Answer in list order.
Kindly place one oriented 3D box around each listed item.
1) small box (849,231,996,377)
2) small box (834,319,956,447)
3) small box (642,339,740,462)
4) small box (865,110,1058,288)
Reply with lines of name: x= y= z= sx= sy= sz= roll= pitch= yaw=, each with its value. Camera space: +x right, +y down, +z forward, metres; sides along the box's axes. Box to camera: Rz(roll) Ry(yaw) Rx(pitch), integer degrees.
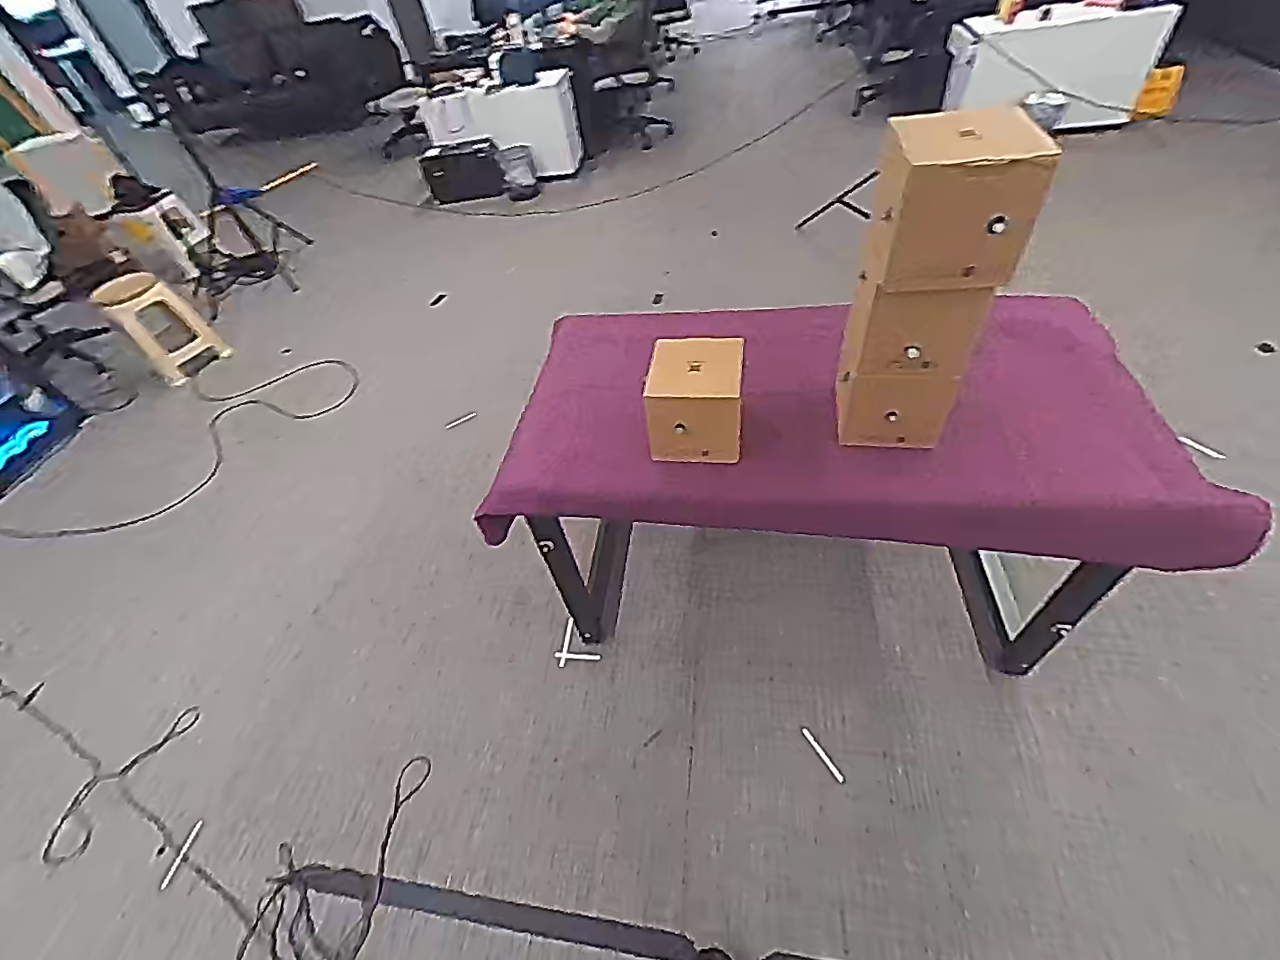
small box: x=0.442 y=-0.289 z=0.879 sx=0.168 sy=0.176 sz=0.179 roll=3 pitch=50 yaw=12
small box: x=0.458 y=-0.178 z=0.999 sx=0.168 sy=0.176 sz=0.179 roll=4 pitch=49 yaw=12
small box: x=0.106 y=-0.149 z=1.033 sx=0.168 sy=0.176 sz=0.179 roll=2 pitch=48 yaw=11
small box: x=0.420 y=-0.379 z=0.744 sx=0.168 sy=0.176 sz=0.179 roll=1 pitch=49 yaw=9
